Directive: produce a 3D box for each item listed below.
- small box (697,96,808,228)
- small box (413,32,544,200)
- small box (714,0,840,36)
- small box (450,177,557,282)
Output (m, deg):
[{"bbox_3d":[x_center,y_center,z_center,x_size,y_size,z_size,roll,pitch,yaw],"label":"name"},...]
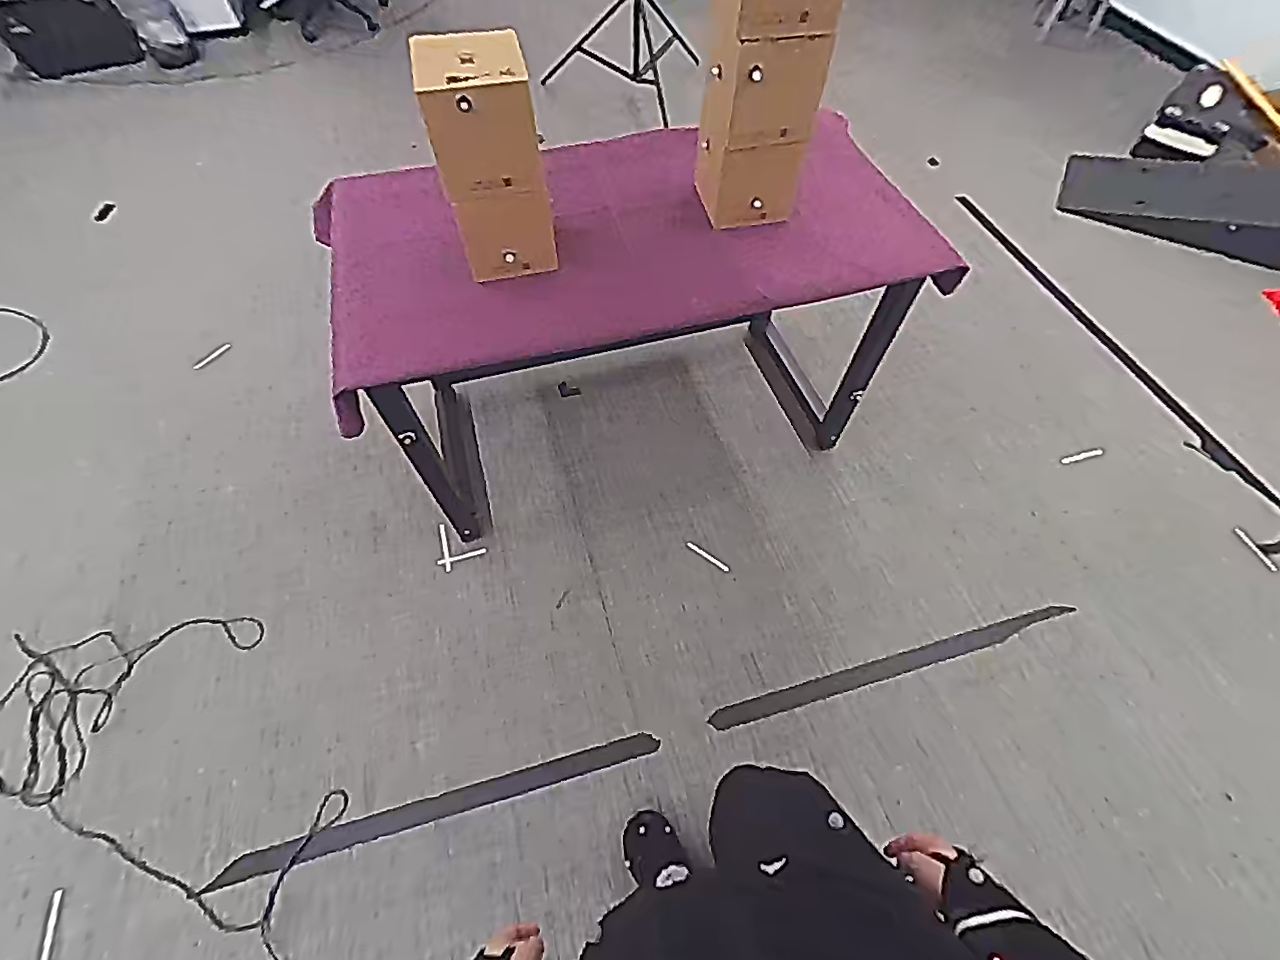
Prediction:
[{"bbox_3d":[0.220,-0.651,1.113,0.168,0.176,0.179,-10,60,-5],"label":"small box"},{"bbox_3d":[-0.260,-0.591,0.884,0.168,0.176,0.179,-12,60,-7],"label":"small box"},{"bbox_3d":[0.218,-0.812,0.828,0.168,0.176,0.179,-7,58,-6],"label":"small box"},{"bbox_3d":[-0.259,-0.508,1.025,0.168,0.176,0.179,-13,61,-8],"label":"small box"}]
